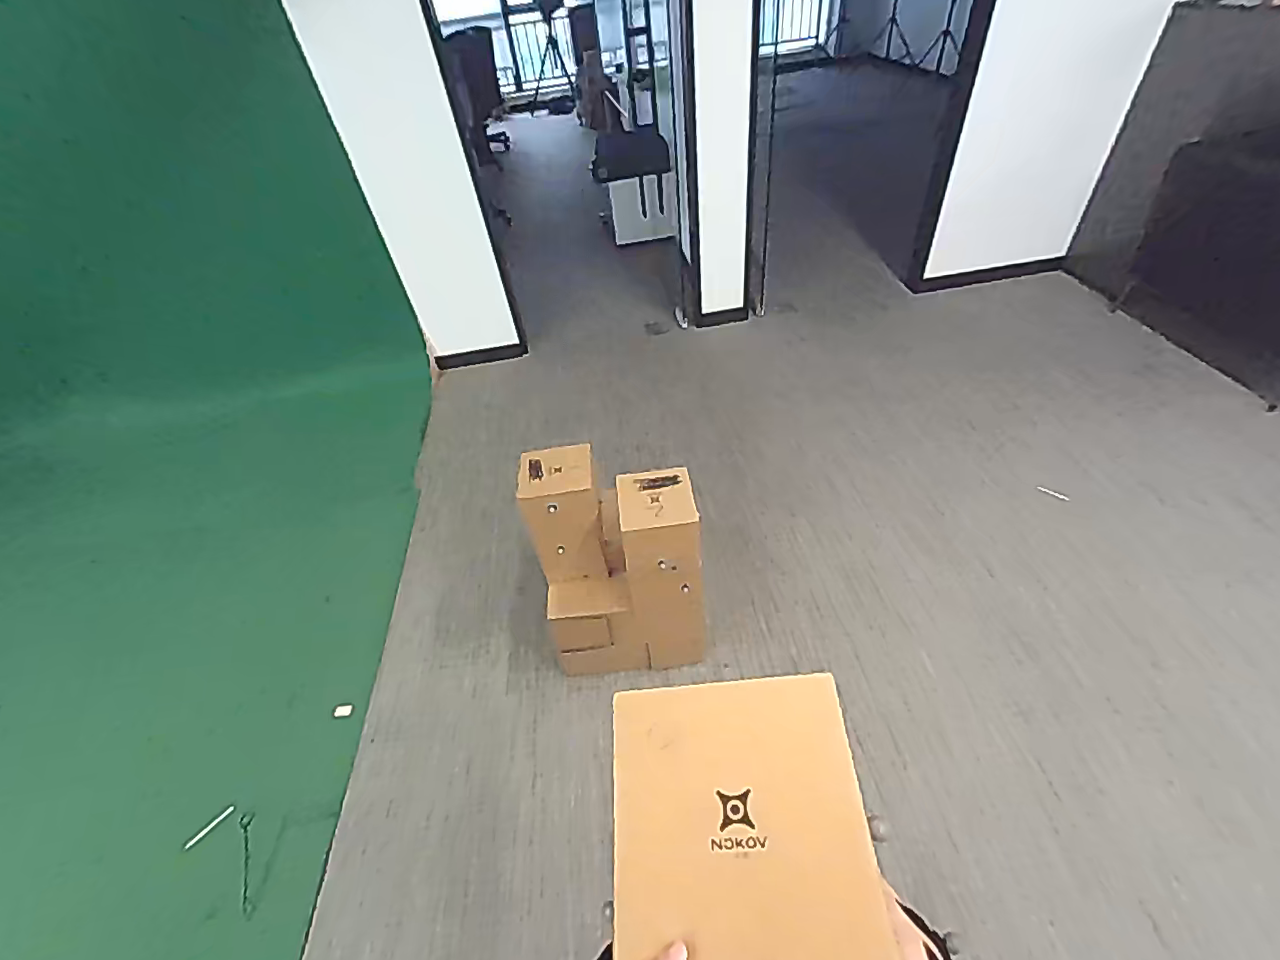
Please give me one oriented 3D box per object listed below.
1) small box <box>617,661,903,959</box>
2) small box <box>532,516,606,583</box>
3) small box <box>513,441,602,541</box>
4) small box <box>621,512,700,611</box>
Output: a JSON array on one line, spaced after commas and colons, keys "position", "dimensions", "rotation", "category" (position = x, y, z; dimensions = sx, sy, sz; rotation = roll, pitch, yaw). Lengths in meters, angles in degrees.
[{"position": [0.079, 0.259, 0.423], "dimensions": [0.168, 0.176, 0.179], "rotation": [-9, 55, 8], "category": "small box"}, {"position": [-0.184, 0.150, 1.443], "dimensions": [0.168, 0.176, 0.179], "rotation": [-8, 42, 1], "category": "small box"}, {"position": [-0.197, 0.032, 1.327], "dimensions": [0.179, 0.176, 0.168], "rotation": [-9, 43, 1], "category": "small box"}, {"position": [0.052, 0.205, 1.348], "dimensions": [0.179, 0.176, 0.168], "rotation": [-9, 43, -1], "category": "small box"}]
